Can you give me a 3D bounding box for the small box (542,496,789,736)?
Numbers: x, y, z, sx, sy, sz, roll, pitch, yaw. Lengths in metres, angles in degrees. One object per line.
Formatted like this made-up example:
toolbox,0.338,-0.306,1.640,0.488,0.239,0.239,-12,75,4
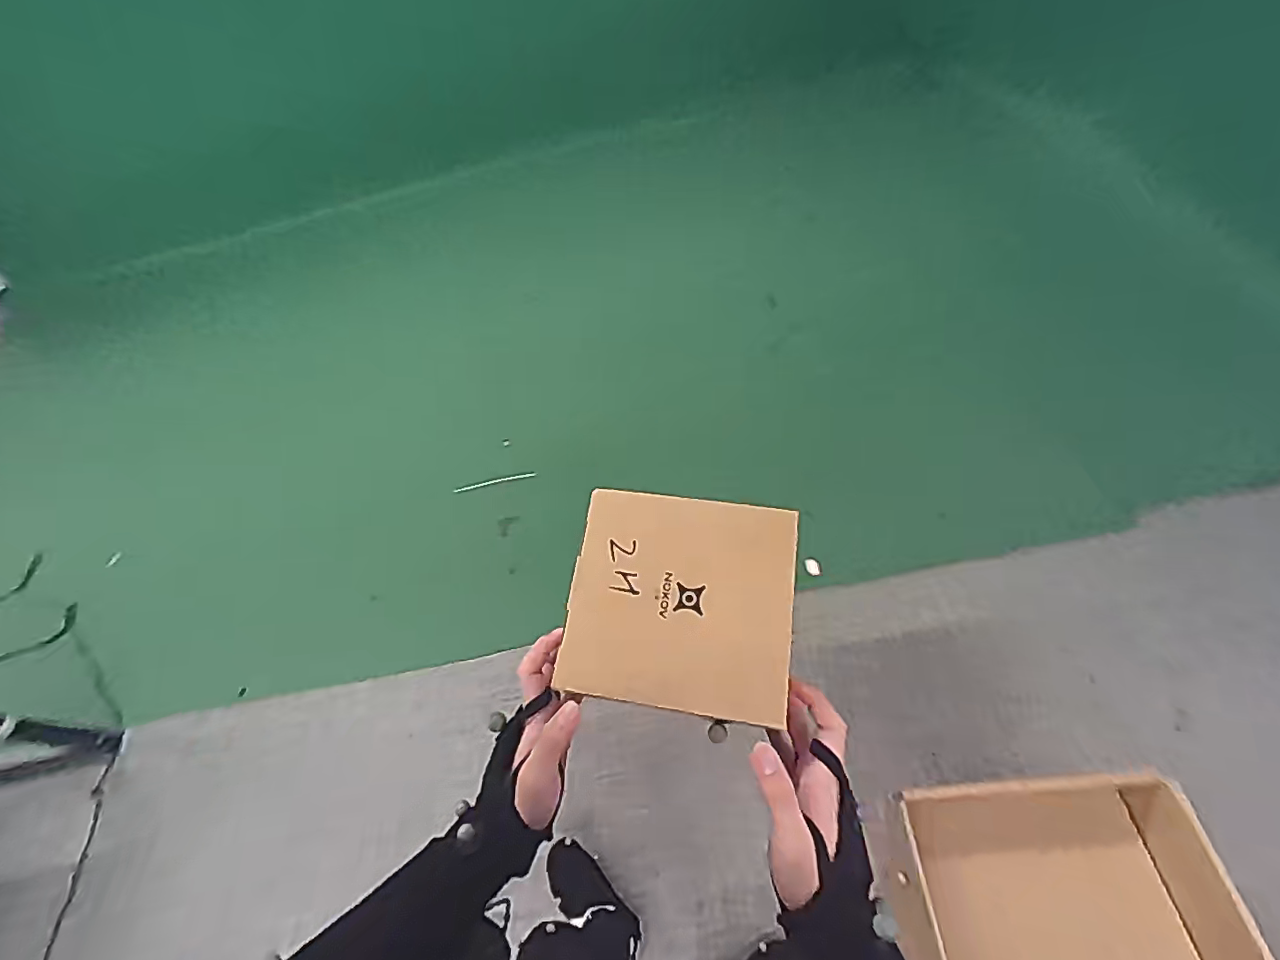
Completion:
small box,0.032,0.128,0.495,0.179,0.176,0.168,5,67,10
